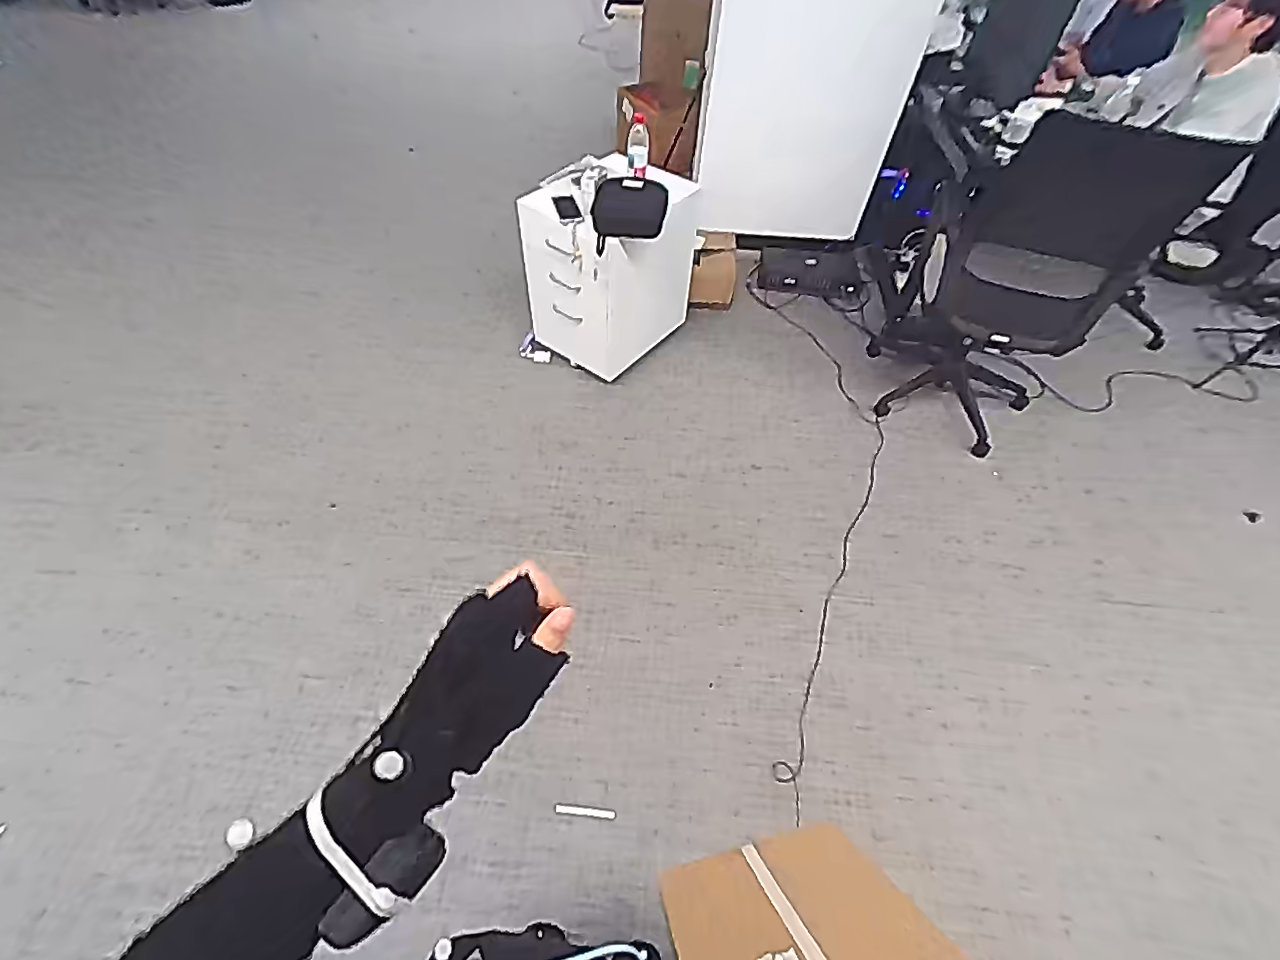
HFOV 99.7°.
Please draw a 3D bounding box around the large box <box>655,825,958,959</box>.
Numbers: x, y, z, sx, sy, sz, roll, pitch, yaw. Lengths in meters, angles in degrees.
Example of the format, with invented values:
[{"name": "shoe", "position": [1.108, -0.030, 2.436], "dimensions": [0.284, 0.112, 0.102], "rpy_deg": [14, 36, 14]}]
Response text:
[{"name": "large box", "position": [0.228, 0.736, 0.696], "dimensions": [0.320, 0.408, 0.320], "rpy_deg": [-11, 84, -9]}]
